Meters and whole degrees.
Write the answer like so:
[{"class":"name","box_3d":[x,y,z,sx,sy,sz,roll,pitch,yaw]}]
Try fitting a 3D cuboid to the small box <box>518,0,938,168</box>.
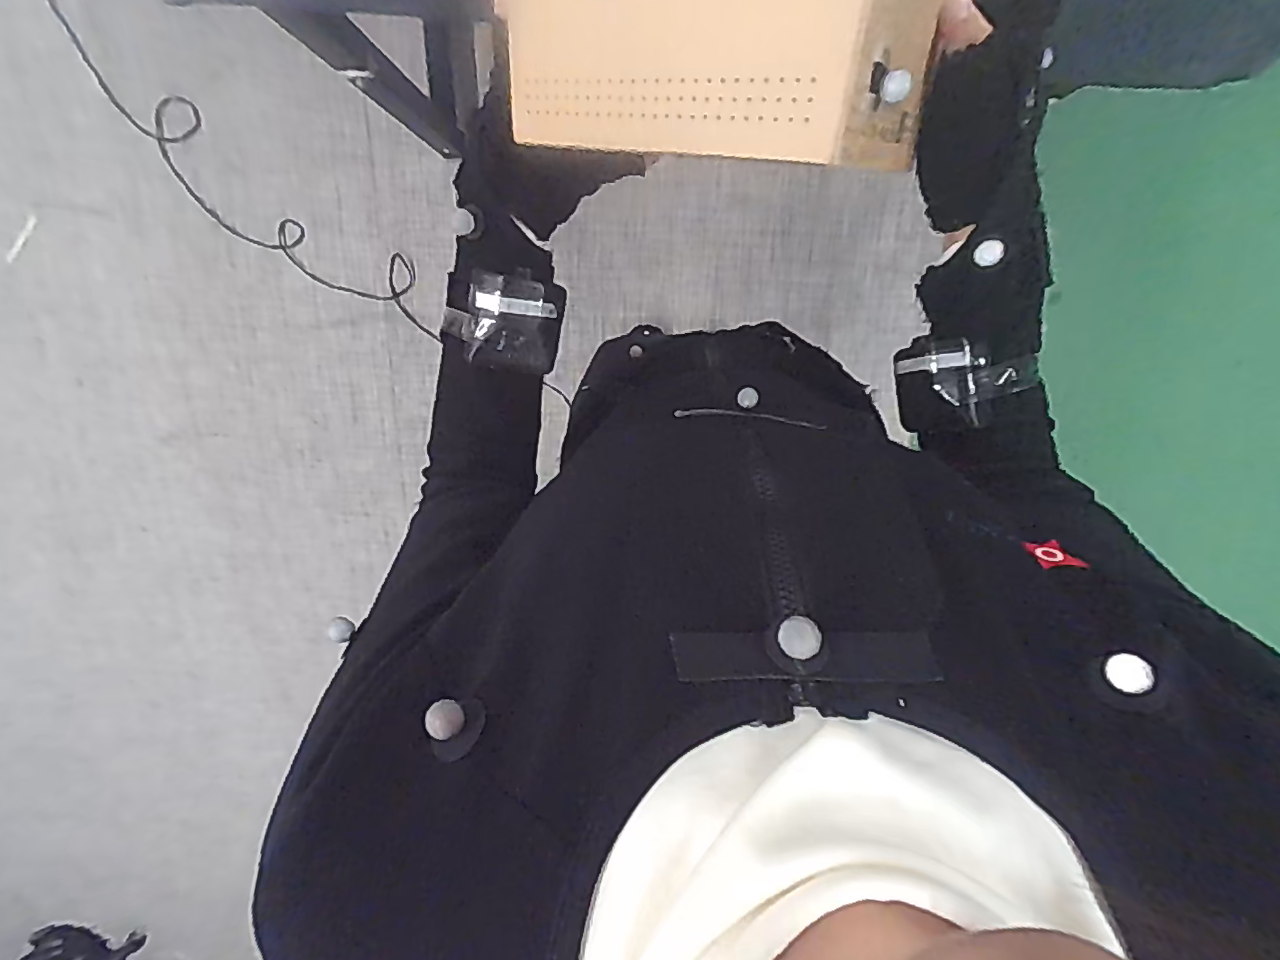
[{"class":"small box","box_3d":[0.054,-0.264,0.281,0.179,0.168,0.176,21,124,28]}]
